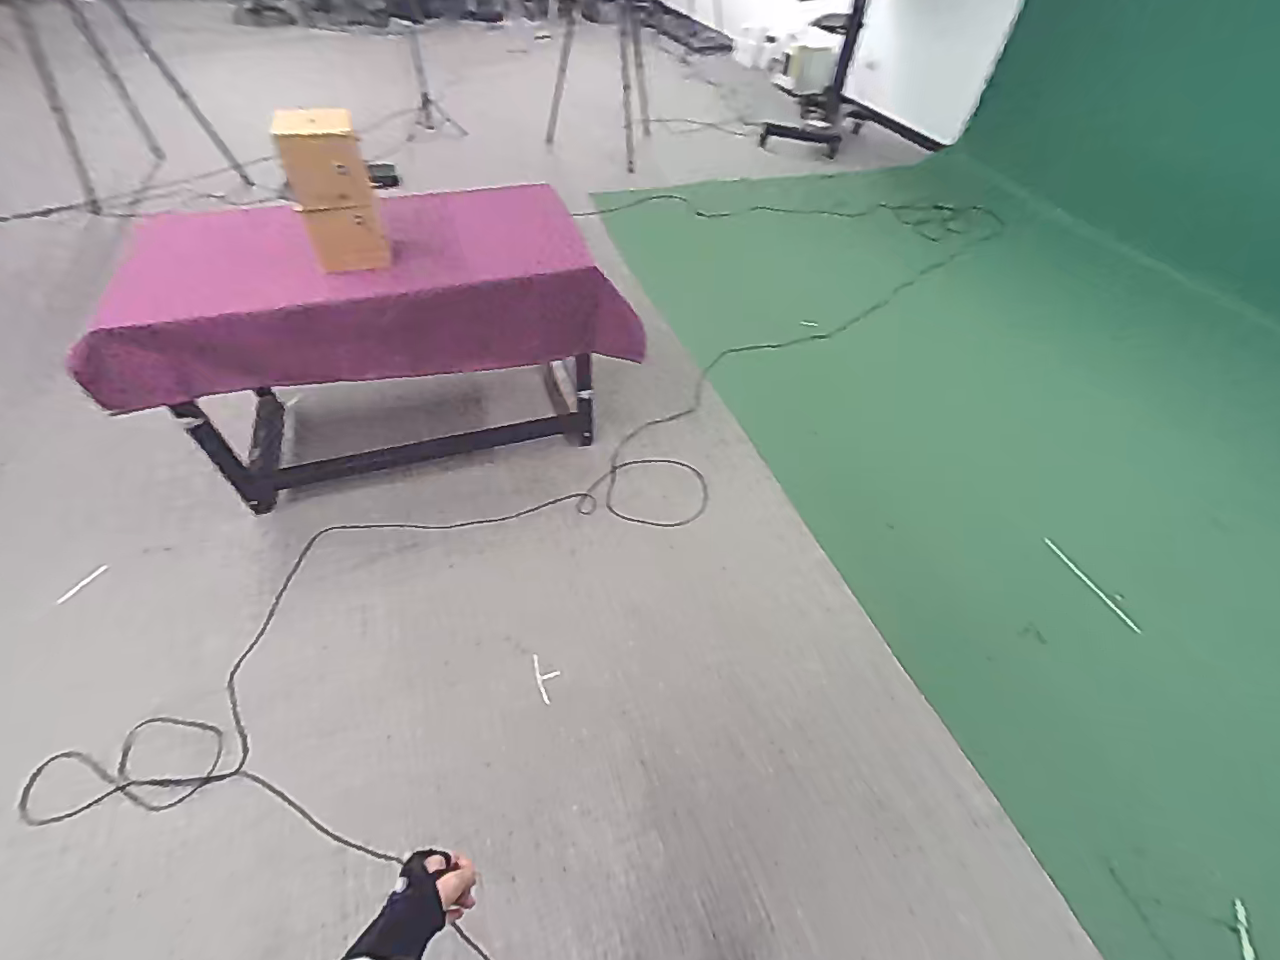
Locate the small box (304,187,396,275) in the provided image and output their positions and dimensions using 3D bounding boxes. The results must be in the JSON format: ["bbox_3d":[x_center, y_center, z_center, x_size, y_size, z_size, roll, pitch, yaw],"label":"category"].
[{"bbox_3d":[-0.780,-0.673,1.468,0.179,0.176,0.168,-12,50,-15],"label":"small box"}]

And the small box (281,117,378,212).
[{"bbox_3d":[-0.766,-0.782,1.348,0.168,0.176,0.179,-12,49,-16],"label":"small box"}]
